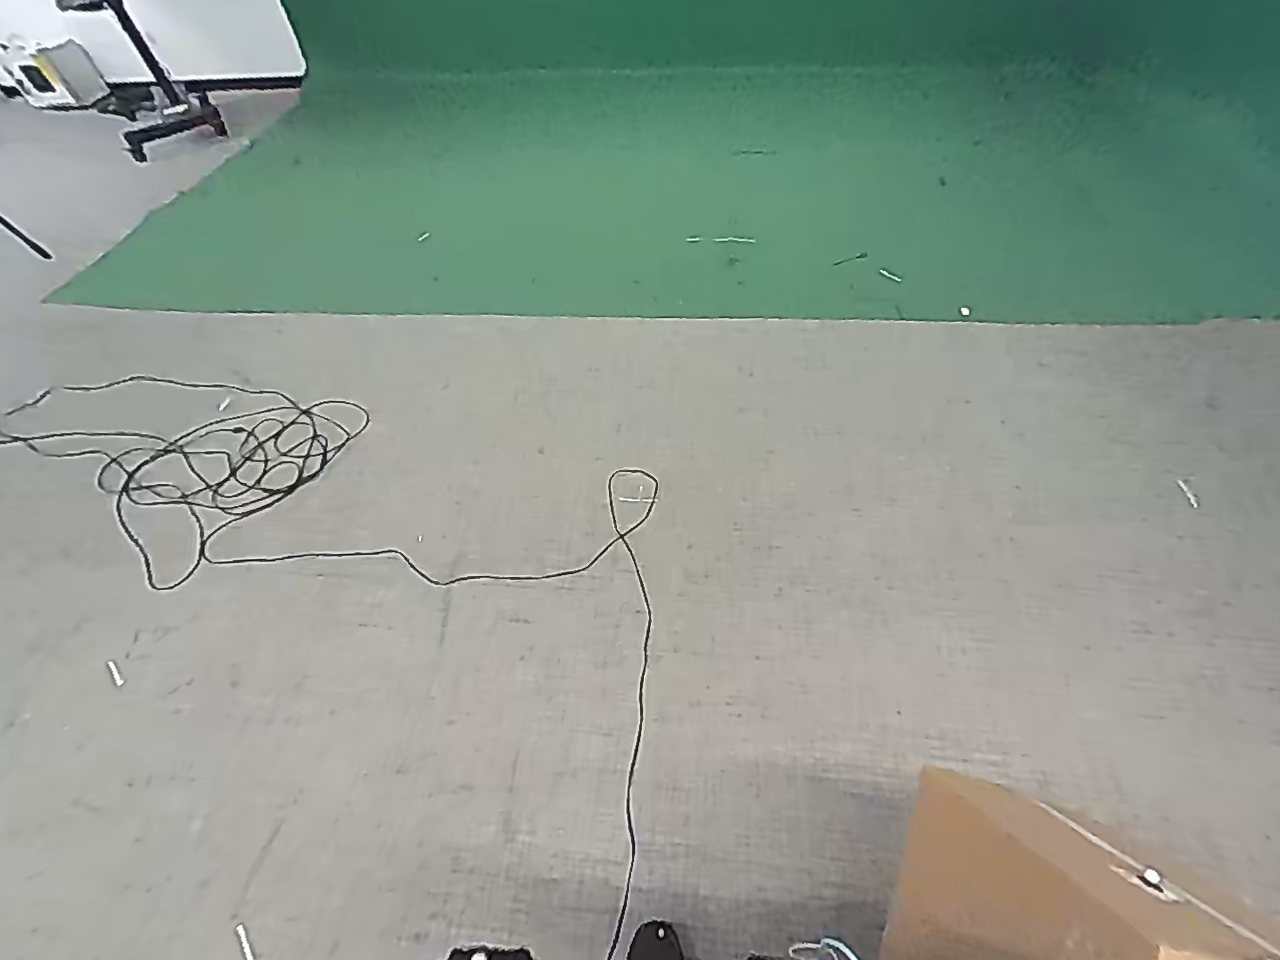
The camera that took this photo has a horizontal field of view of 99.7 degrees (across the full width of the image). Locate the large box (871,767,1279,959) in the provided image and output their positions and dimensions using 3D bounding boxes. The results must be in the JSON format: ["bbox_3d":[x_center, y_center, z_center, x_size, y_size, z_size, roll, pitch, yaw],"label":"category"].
[{"bbox_3d":[0.525,0.605,0.612,0.320,0.408,0.320,18,83,3],"label":"large box"}]
